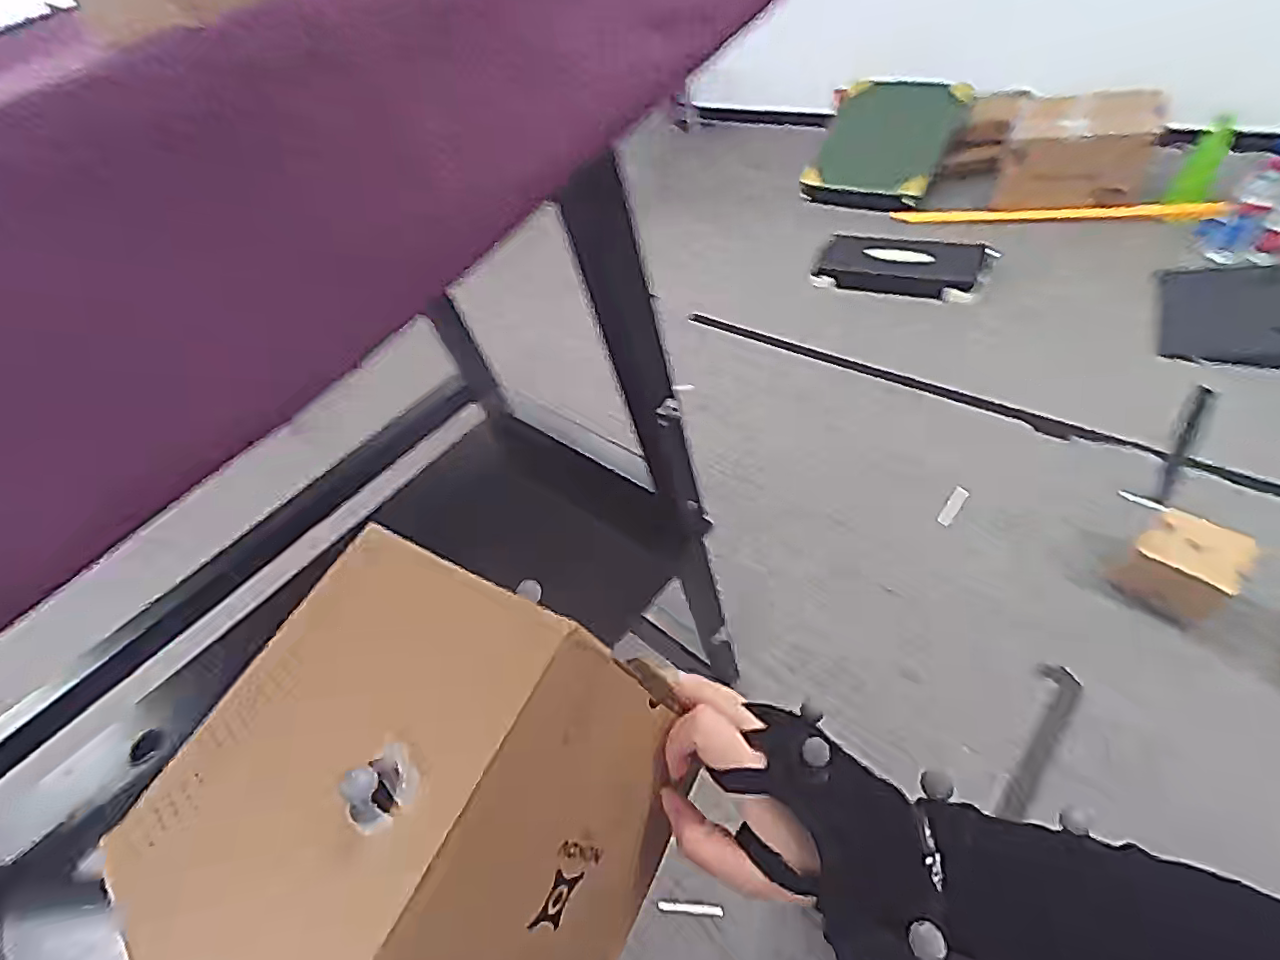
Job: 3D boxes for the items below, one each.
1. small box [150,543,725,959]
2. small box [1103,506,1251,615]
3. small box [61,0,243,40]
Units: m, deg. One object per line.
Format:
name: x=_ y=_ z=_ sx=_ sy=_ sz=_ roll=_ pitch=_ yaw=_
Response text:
small box: x=-0.087 y=0.155 z=0.271 sx=0.176 sy=0.168 sz=0.179 roll=12 pitch=58 yaw=38
small box: x=1.287 y=0.202 z=1.309 sx=0.168 sy=0.176 sz=0.179 roll=-42 pitch=54 yaw=-19
small box: x=-0.263 y=-0.361 z=0.281 sx=0.179 sy=0.176 sz=0.168 roll=22 pitch=62 yaw=31
